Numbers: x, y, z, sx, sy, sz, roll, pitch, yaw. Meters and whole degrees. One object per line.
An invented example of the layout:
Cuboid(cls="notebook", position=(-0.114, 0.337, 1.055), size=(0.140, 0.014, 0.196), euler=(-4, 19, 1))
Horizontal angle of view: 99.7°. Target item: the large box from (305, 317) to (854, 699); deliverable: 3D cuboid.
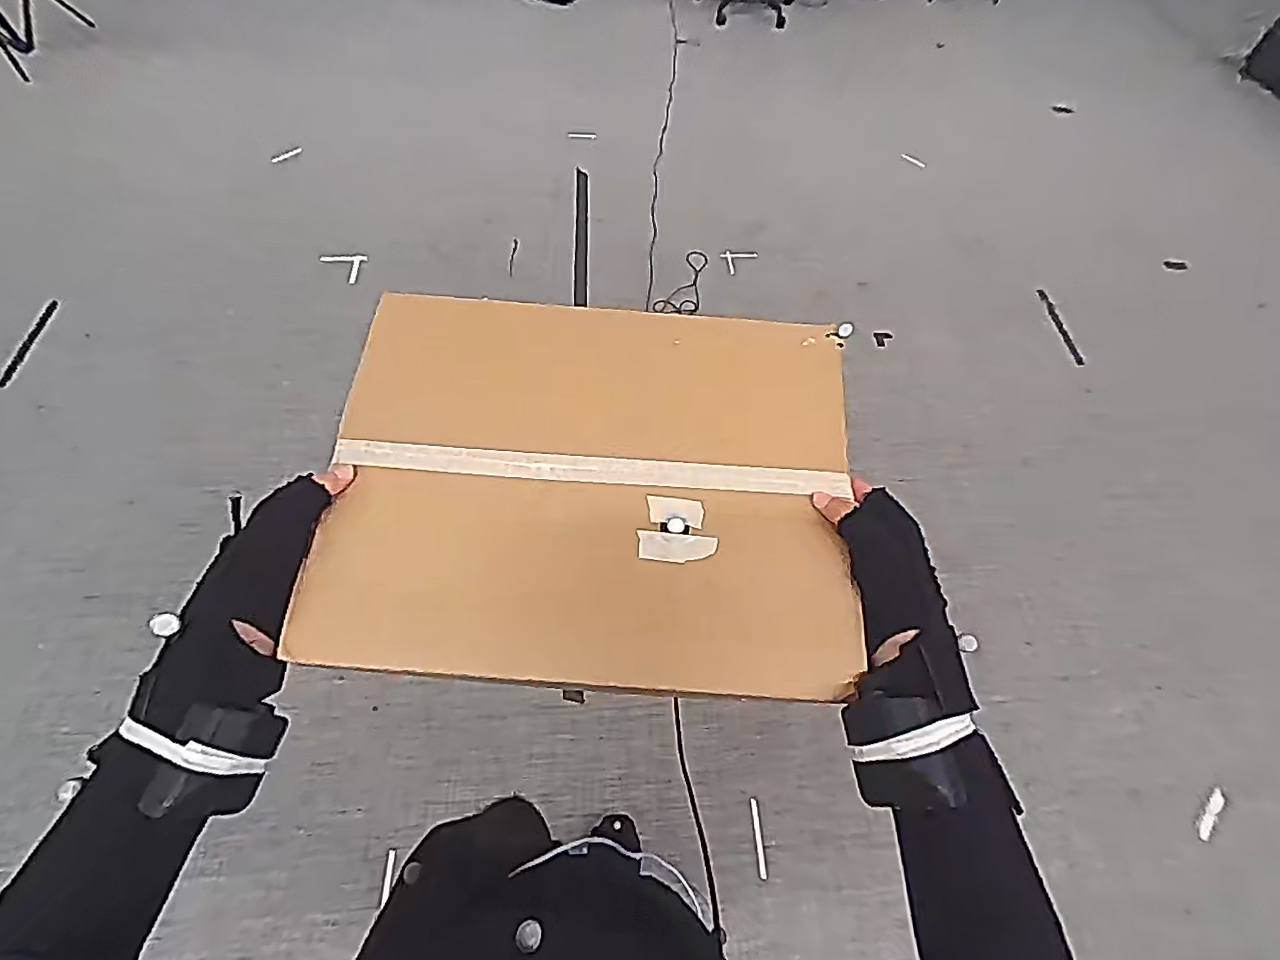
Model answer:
Cuboid(cls="large box", position=(-0.041, 0.058, 0.578), size=(0.408, 0.320, 0.320), euler=(4, 69, -1))
